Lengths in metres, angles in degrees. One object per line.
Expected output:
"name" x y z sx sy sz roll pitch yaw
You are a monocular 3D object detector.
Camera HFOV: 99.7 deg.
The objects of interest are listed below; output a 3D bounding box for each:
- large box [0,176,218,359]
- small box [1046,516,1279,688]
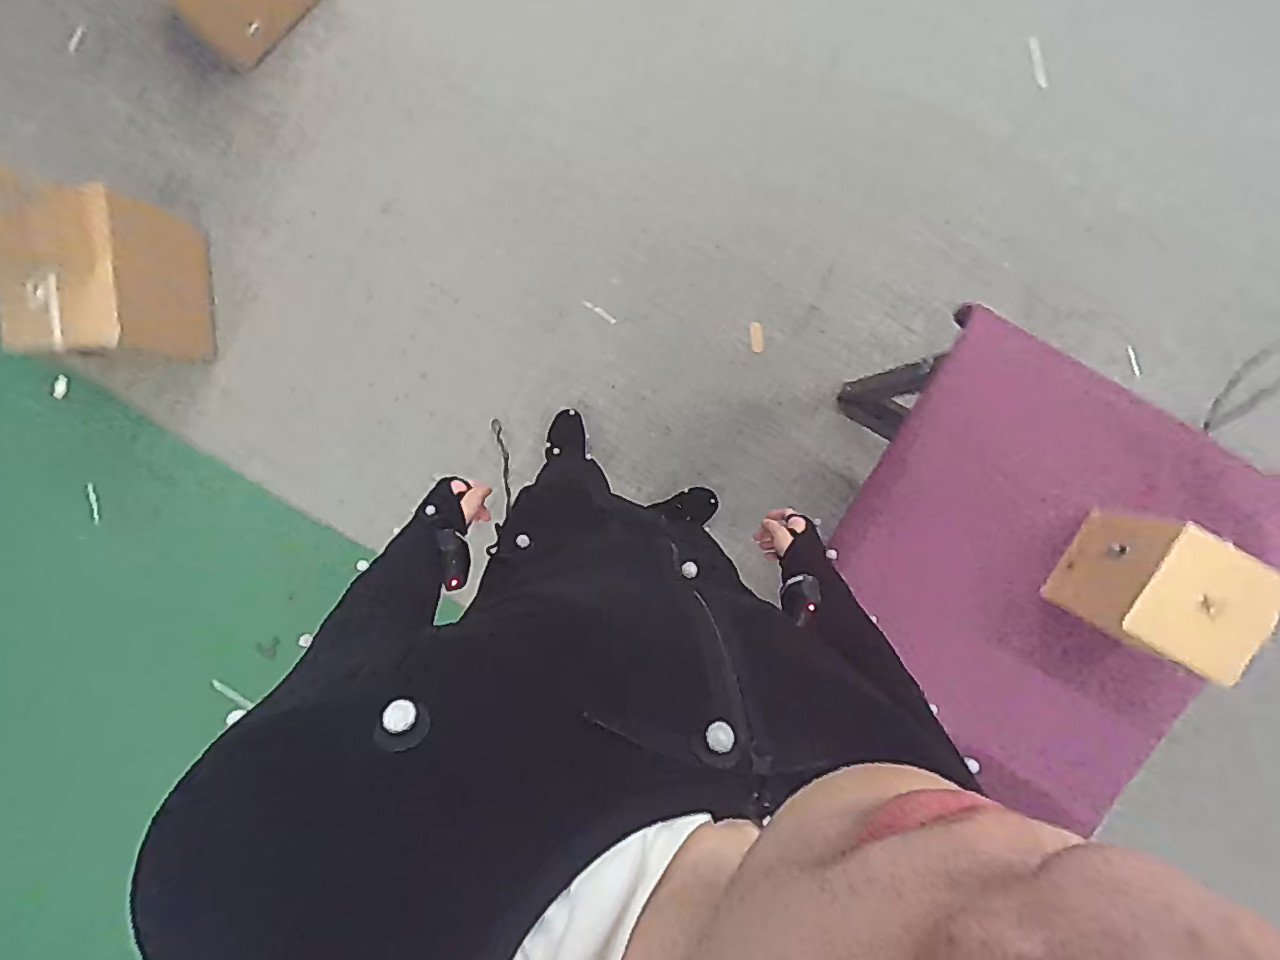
"large box" -1.452 -0.561 1.497 0.320 0.320 0.408 -1 95 3
"small box" 0.764 0.165 0.800 0.179 0.176 0.168 29 94 -1
